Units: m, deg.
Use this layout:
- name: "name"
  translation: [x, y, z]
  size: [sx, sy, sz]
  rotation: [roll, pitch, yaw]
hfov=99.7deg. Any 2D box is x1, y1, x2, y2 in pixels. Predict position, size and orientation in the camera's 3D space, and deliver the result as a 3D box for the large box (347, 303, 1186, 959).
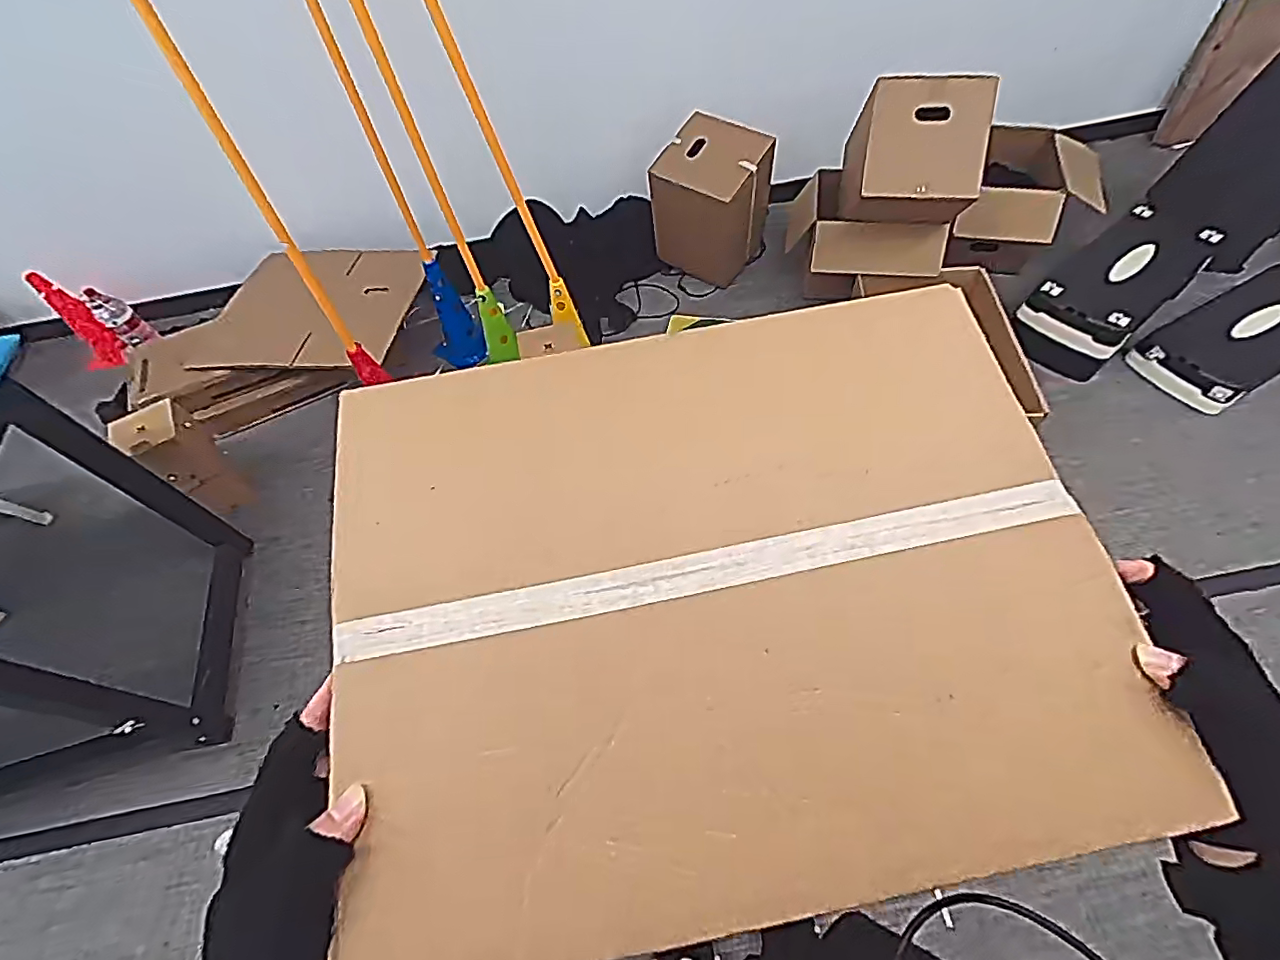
- name: "large box"
  translation: [0.045, 0.112, 0.438]
  size: [0.408, 0.320, 0.320]
  rotation: [-11, 68, -2]
